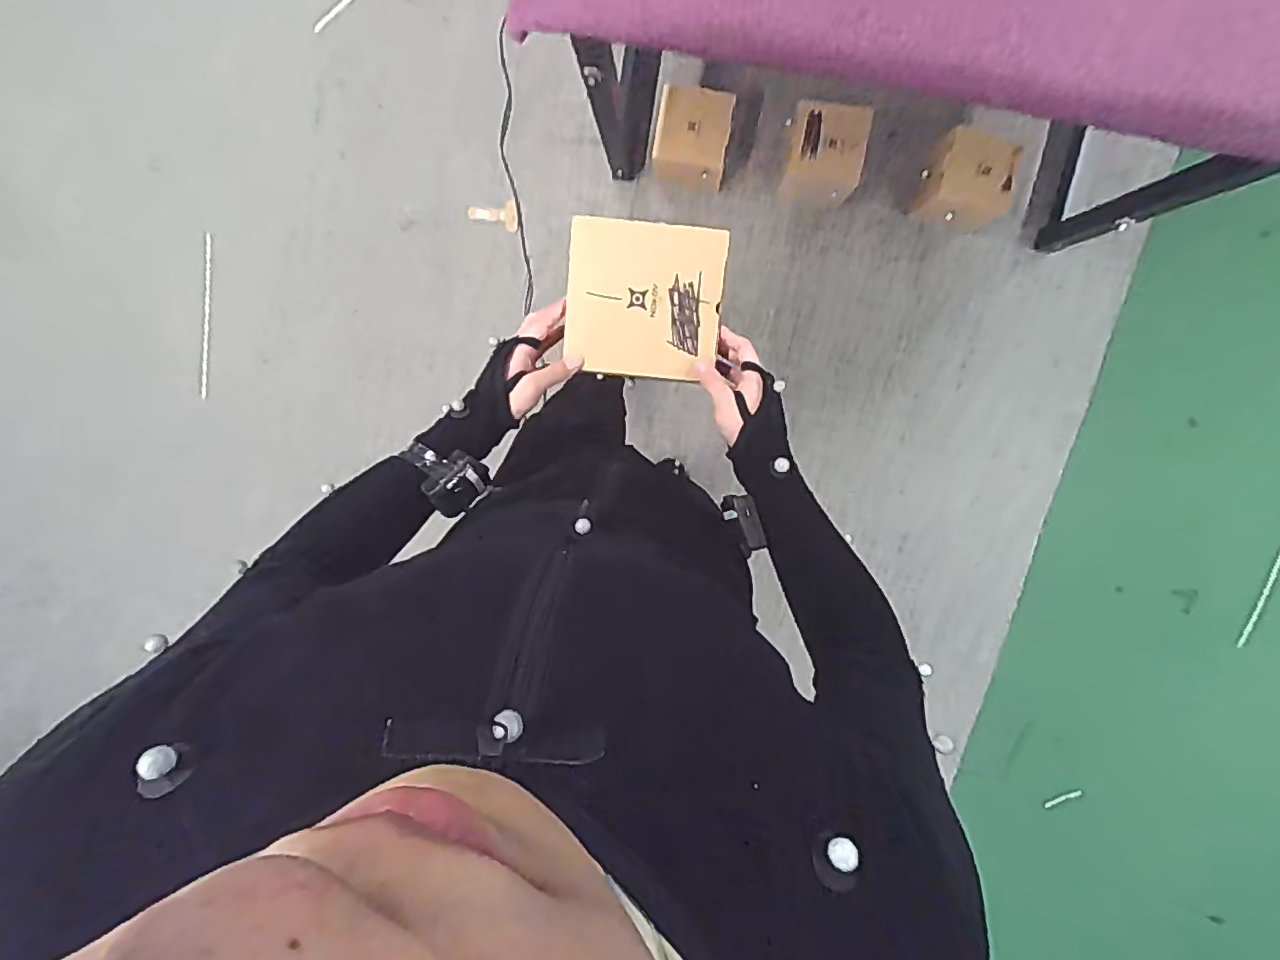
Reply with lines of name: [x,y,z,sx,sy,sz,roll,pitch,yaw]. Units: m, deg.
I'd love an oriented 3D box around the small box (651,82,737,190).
small box: [0.132,-0.849,1.350,0.179,0.176,0.168,11,101,2]

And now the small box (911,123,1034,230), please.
small box: [0.798,-0.731,1.321,0.179,0.176,0.168,14,101,2]
